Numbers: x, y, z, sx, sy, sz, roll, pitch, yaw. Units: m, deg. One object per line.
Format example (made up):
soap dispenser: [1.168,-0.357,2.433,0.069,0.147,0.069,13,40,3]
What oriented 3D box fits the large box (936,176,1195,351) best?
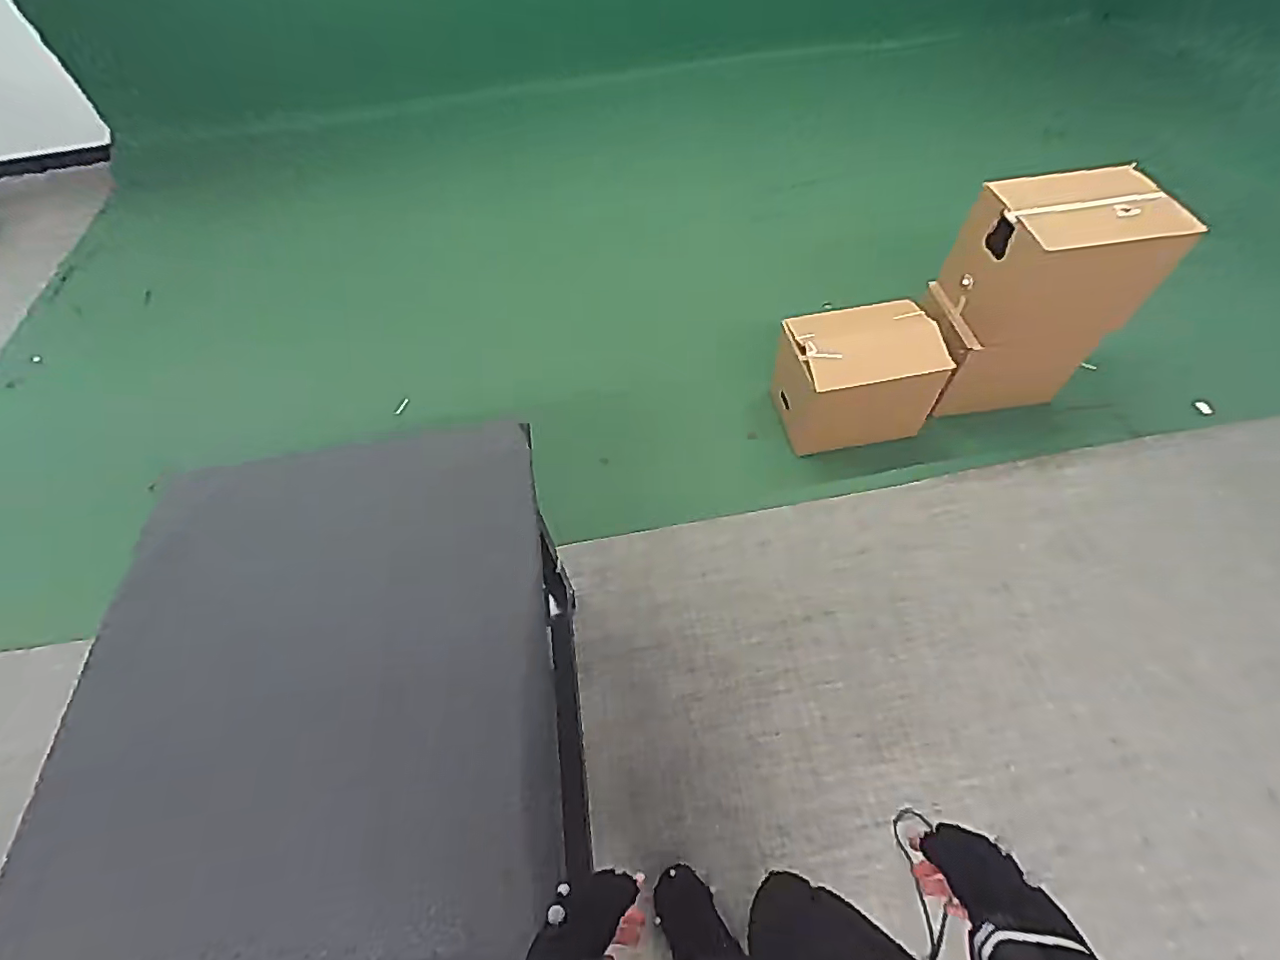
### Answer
large box: [1.137,-0.597,1.507,0.408,0.320,0.320,-8,57,-2]
